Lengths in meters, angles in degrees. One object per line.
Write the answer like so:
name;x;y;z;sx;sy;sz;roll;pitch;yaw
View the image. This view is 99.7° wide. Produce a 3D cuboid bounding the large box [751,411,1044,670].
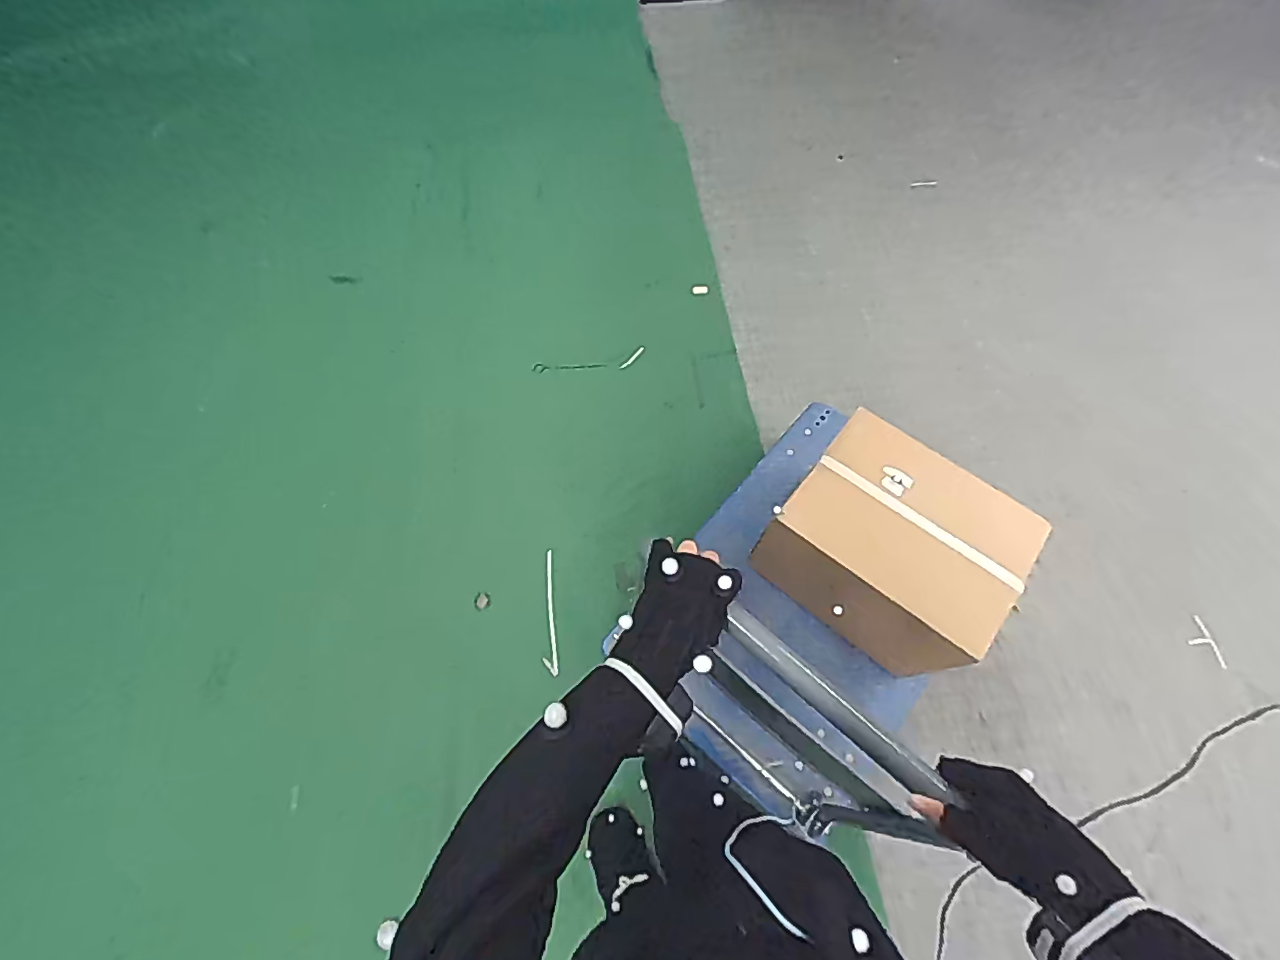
large box;0.502;0.137;1.133;0.408;0.320;0.320;36;70;16
